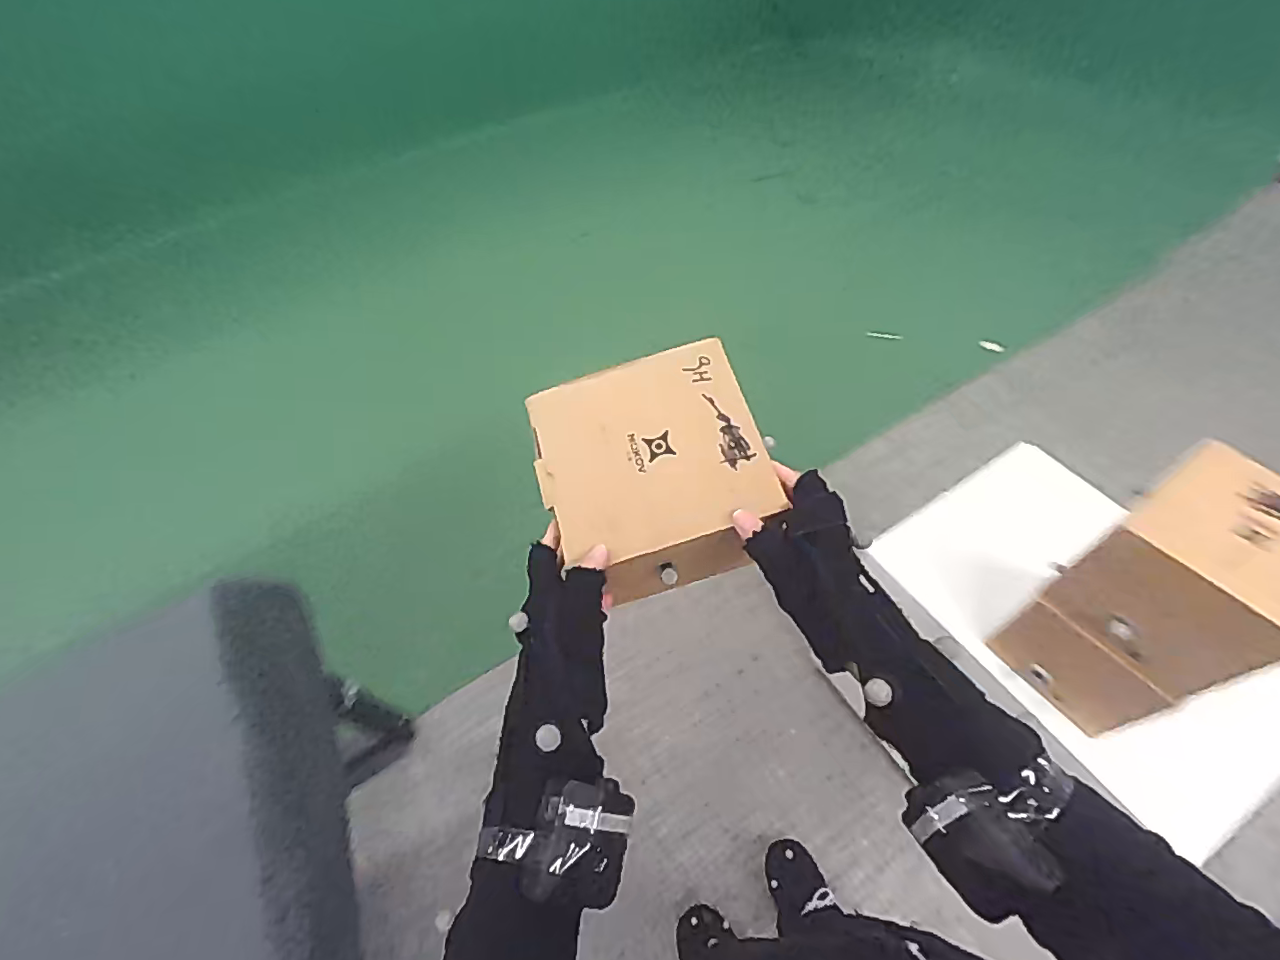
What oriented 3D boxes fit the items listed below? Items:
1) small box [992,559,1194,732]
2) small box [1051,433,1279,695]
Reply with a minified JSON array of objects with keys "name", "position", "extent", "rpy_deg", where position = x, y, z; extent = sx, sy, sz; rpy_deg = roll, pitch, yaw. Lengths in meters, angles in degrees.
[{"name":"small box","position":[0.604,0.191,0.699],"extent":[0.179,0.176,0.168],"rpy_deg":[-34,56,-15]},{"name":"small box","position":[0.589,0.090,0.570],"extent":[0.179,0.176,0.168],"rpy_deg":[-34,57,-19]}]
